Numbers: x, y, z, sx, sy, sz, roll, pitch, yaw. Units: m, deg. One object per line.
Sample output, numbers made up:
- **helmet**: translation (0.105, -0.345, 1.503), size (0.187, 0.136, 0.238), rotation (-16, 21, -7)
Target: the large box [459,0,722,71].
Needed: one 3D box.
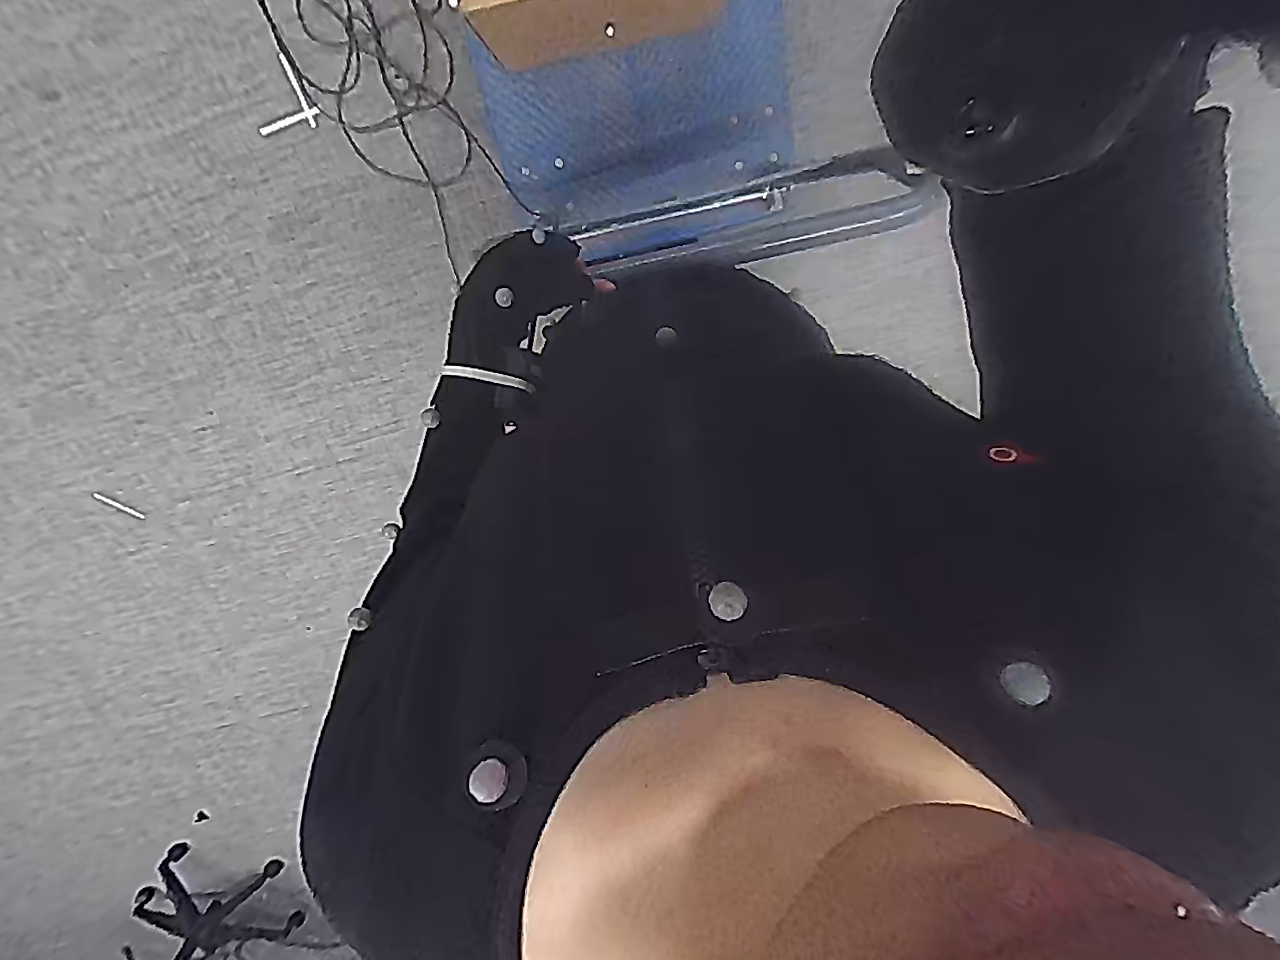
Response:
- **large box**: translation (-0.083, -0.880, 0.815), size (0.408, 0.320, 0.320), rotation (-10, 114, 4)
